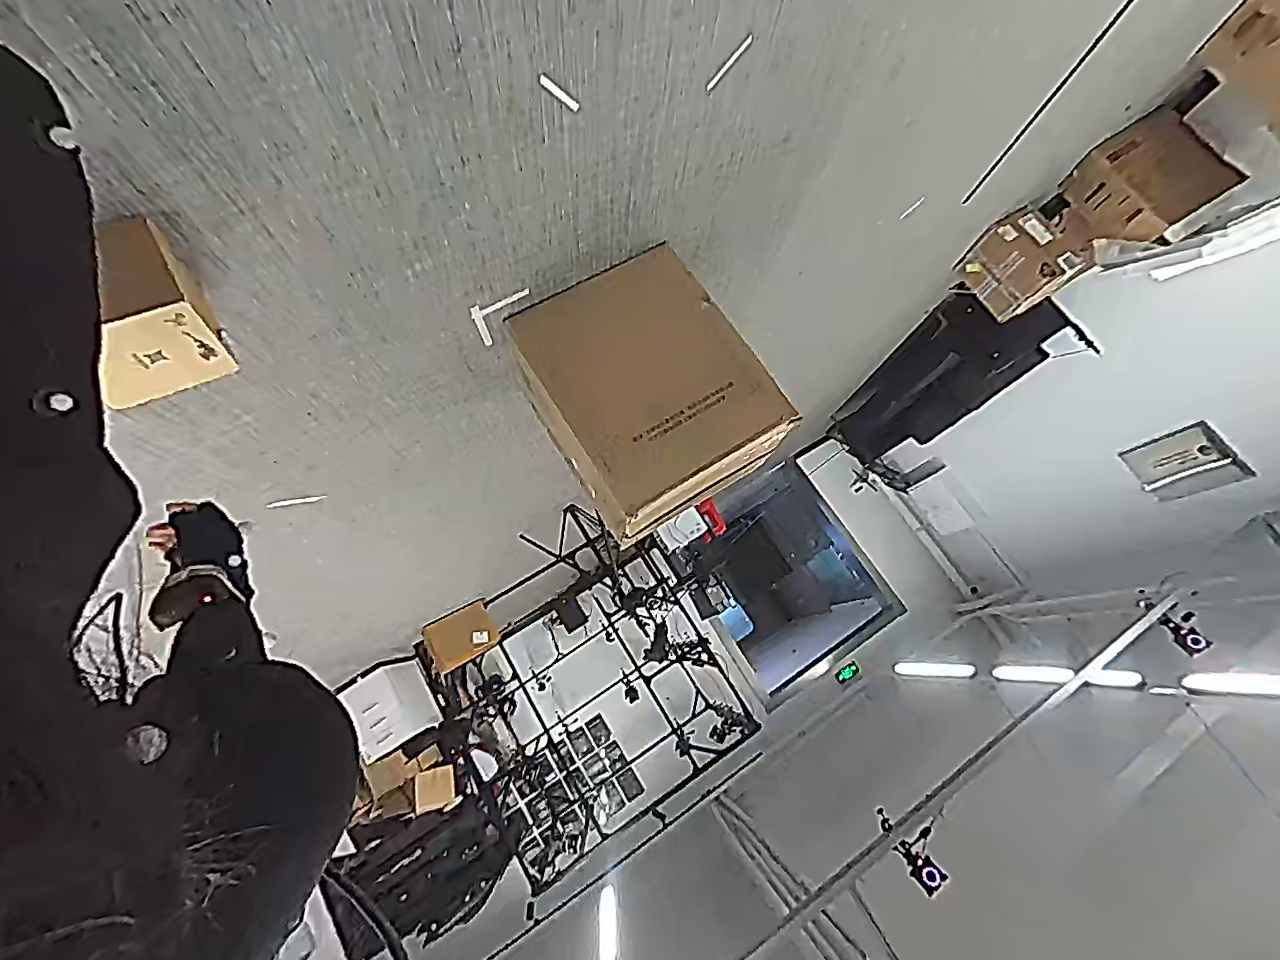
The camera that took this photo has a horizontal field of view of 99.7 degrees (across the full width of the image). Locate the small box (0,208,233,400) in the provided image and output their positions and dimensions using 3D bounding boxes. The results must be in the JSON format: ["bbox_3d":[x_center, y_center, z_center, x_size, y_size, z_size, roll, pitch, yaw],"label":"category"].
[{"bbox_3d":[-0.735,-0.250,0.769,0.179,0.176,0.168,-27,166,-23],"label":"small box"}]
